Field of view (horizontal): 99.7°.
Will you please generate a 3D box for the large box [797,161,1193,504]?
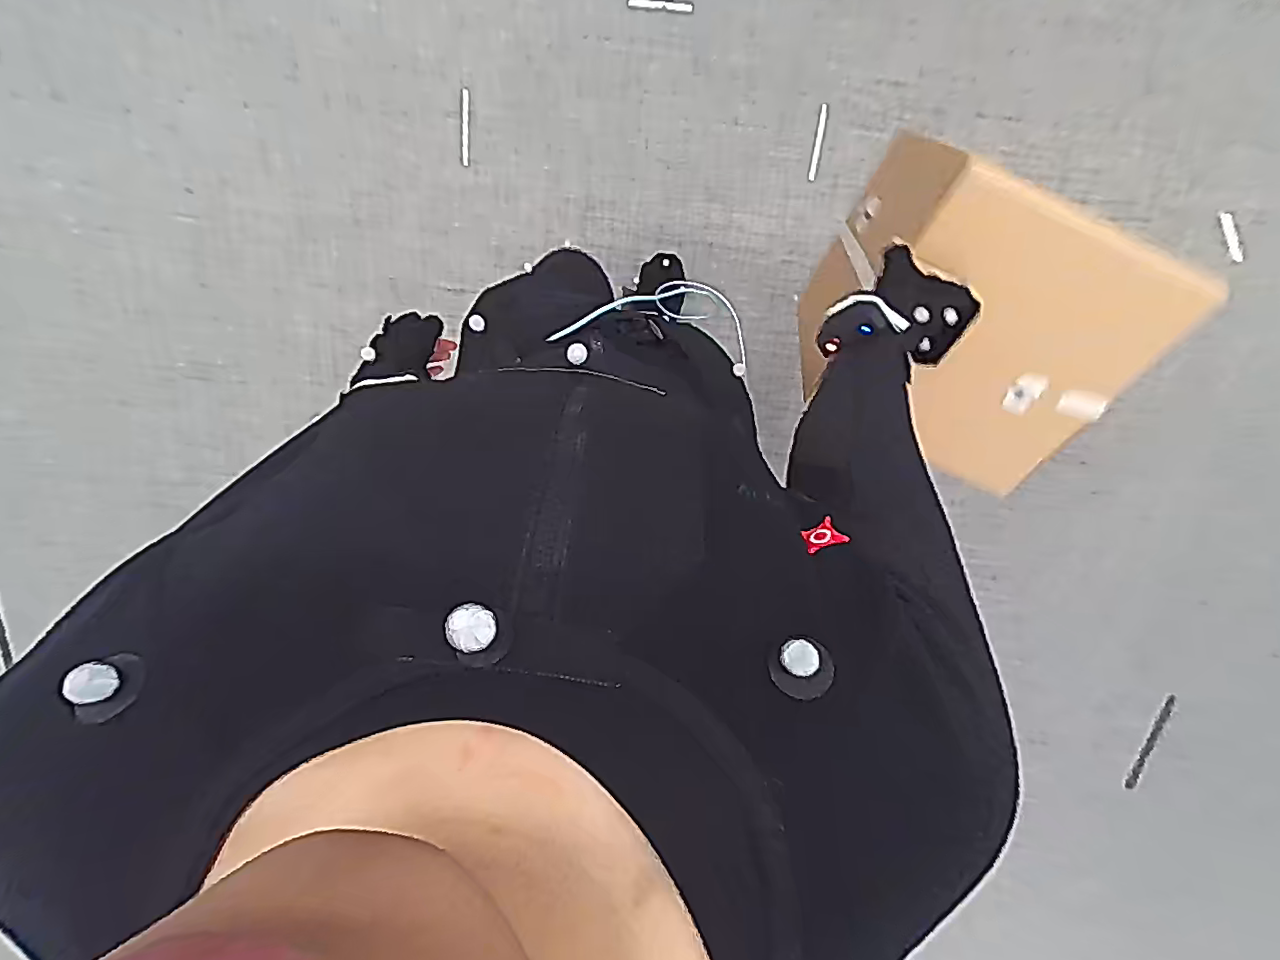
[{"bbox_3d":[0.456,-0.238,0.818,0.320,0.408,0.320,29,126,-4],"label":"large box"}]
